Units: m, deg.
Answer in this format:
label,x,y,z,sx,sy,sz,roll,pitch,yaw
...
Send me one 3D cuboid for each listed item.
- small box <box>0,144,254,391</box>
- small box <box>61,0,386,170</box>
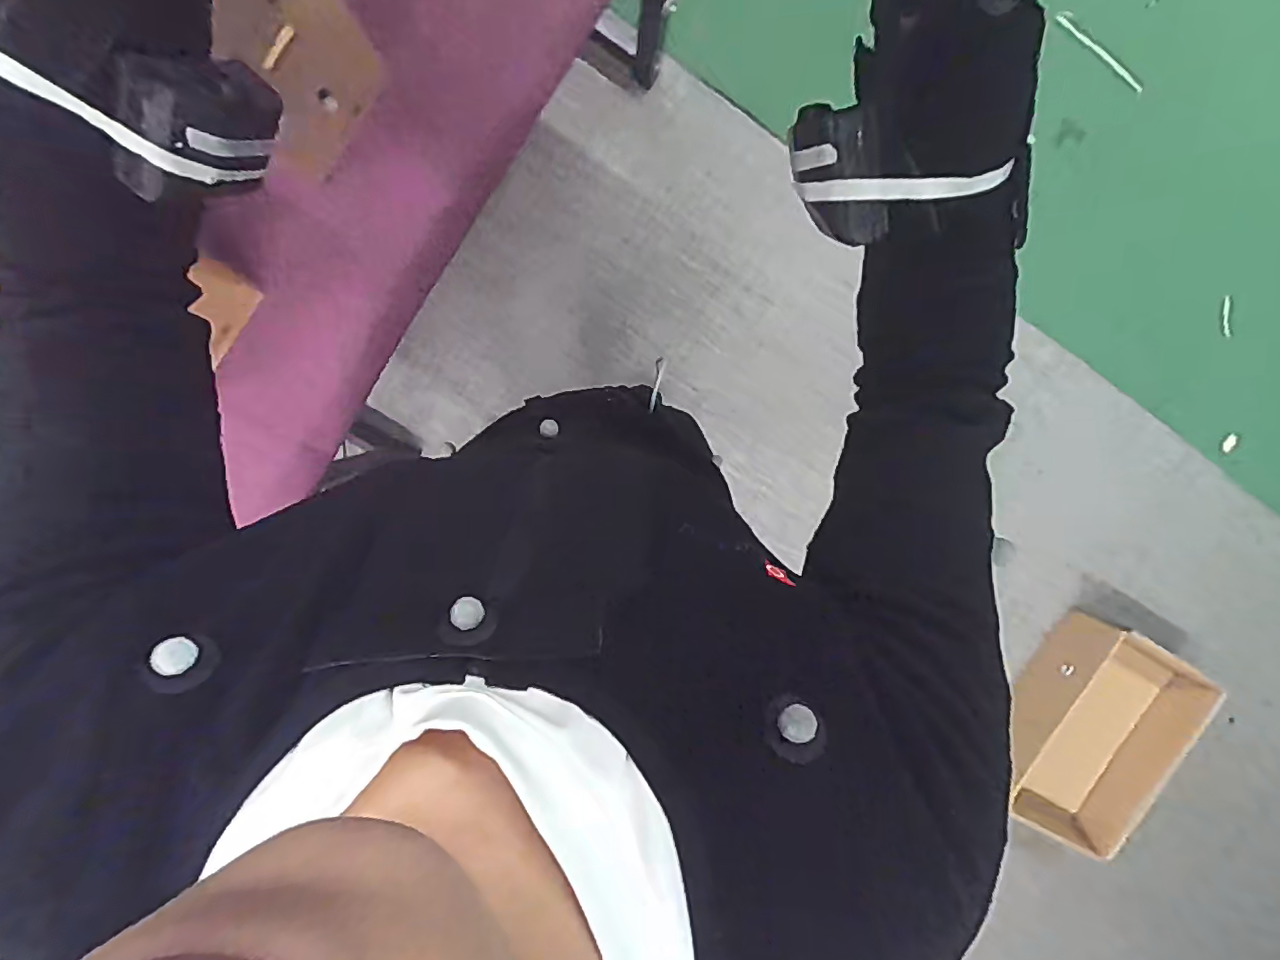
label,x,y,z,sx,sy,sz,roll,pitch,yaw
small box,-0.581,-0.207,0.583,0.179,0.176,0.168,35,94,-10
small box,-0.404,-0.459,0.561,0.179,0.176,0.168,35,99,-8
